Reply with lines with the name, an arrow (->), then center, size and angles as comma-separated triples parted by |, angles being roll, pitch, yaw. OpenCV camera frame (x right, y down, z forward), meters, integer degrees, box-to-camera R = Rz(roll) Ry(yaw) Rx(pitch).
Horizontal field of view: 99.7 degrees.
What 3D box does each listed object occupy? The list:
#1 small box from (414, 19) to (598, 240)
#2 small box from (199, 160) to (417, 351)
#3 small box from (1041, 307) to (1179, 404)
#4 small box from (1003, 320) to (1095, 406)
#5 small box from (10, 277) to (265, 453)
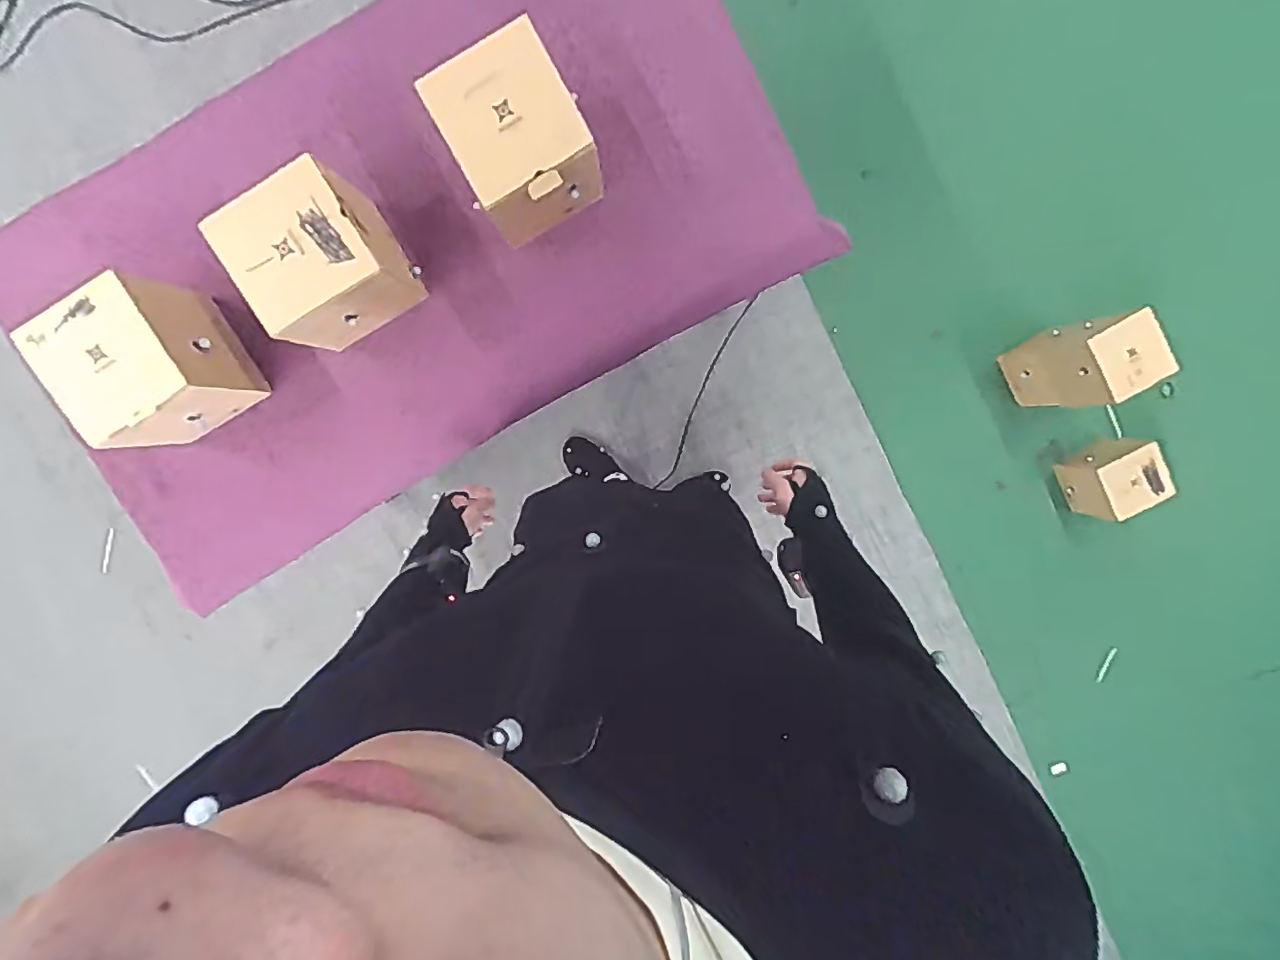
small box -> -0.169, -0.461, 0.753 | 0.168, 0.176, 0.179 | -29, 96, 2
small box -> -0.446, -0.302, 0.767 | 0.179, 0.176, 0.168 | -30, 96, 4
small box -> 1.158, -0.300, 1.348 | 0.168, 0.176, 0.179 | -29, 96, 3
small box -> 1.162, -0.318, 1.512 | 0.179, 0.176, 0.168 | -30, 95, 2
small box -> -0.700, -0.159, 0.781 | 0.168, 0.176, 0.179 | -31, 97, 2
